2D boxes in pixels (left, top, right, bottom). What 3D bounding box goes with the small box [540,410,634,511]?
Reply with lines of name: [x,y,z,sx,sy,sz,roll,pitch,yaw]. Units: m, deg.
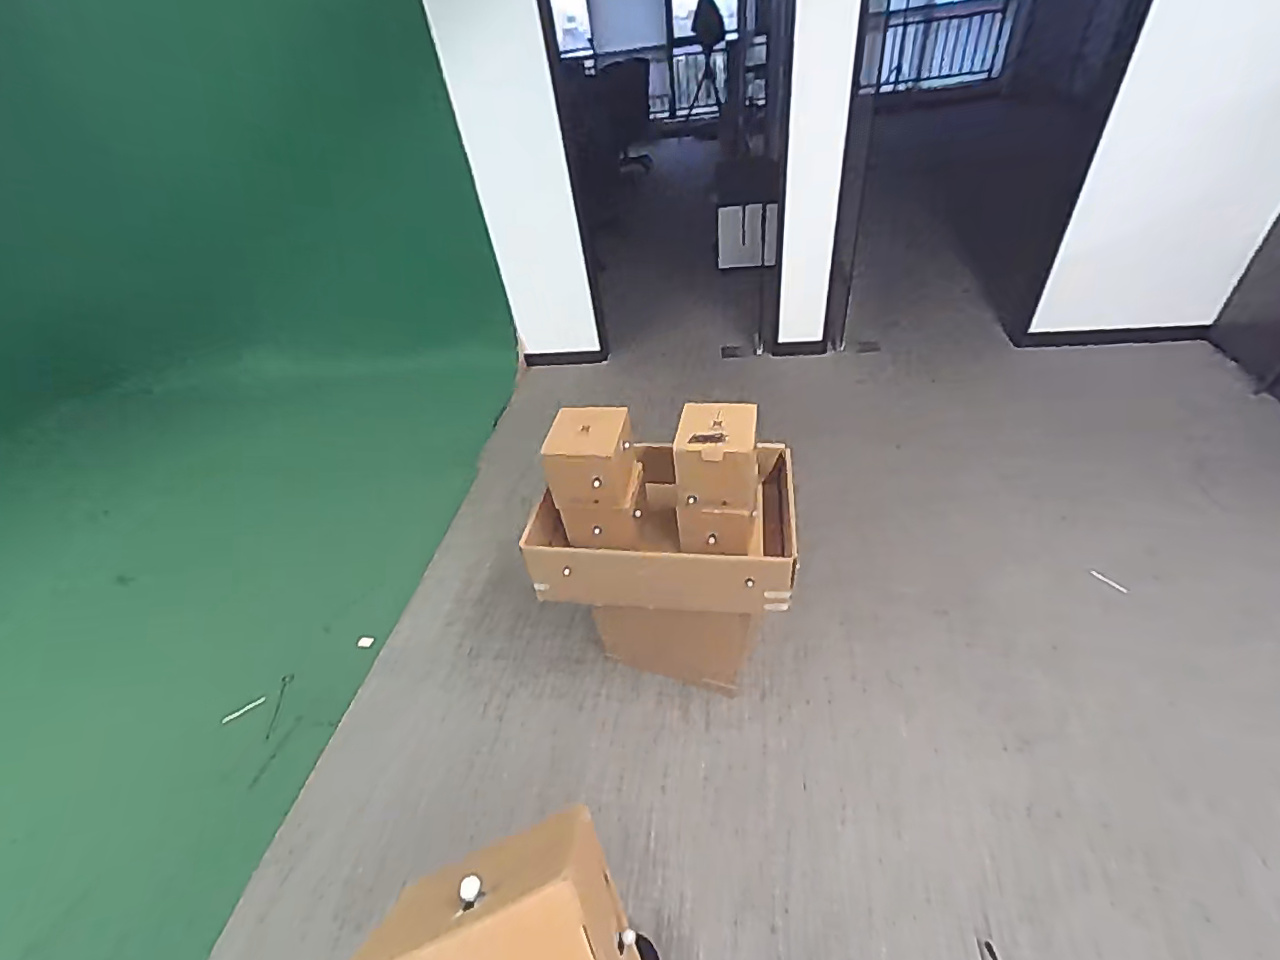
small box: [-0.113,-0.045,1.256,0.168,0.176,0.179,2,41,11]

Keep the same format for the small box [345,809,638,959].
small box: [-0.101,0.399,0.427,0.179,0.176,0.168,-20,75,-9]

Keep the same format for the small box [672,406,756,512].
small box: [0.172,-0.047,1.209,0.168,0.176,0.179,3,41,13]
